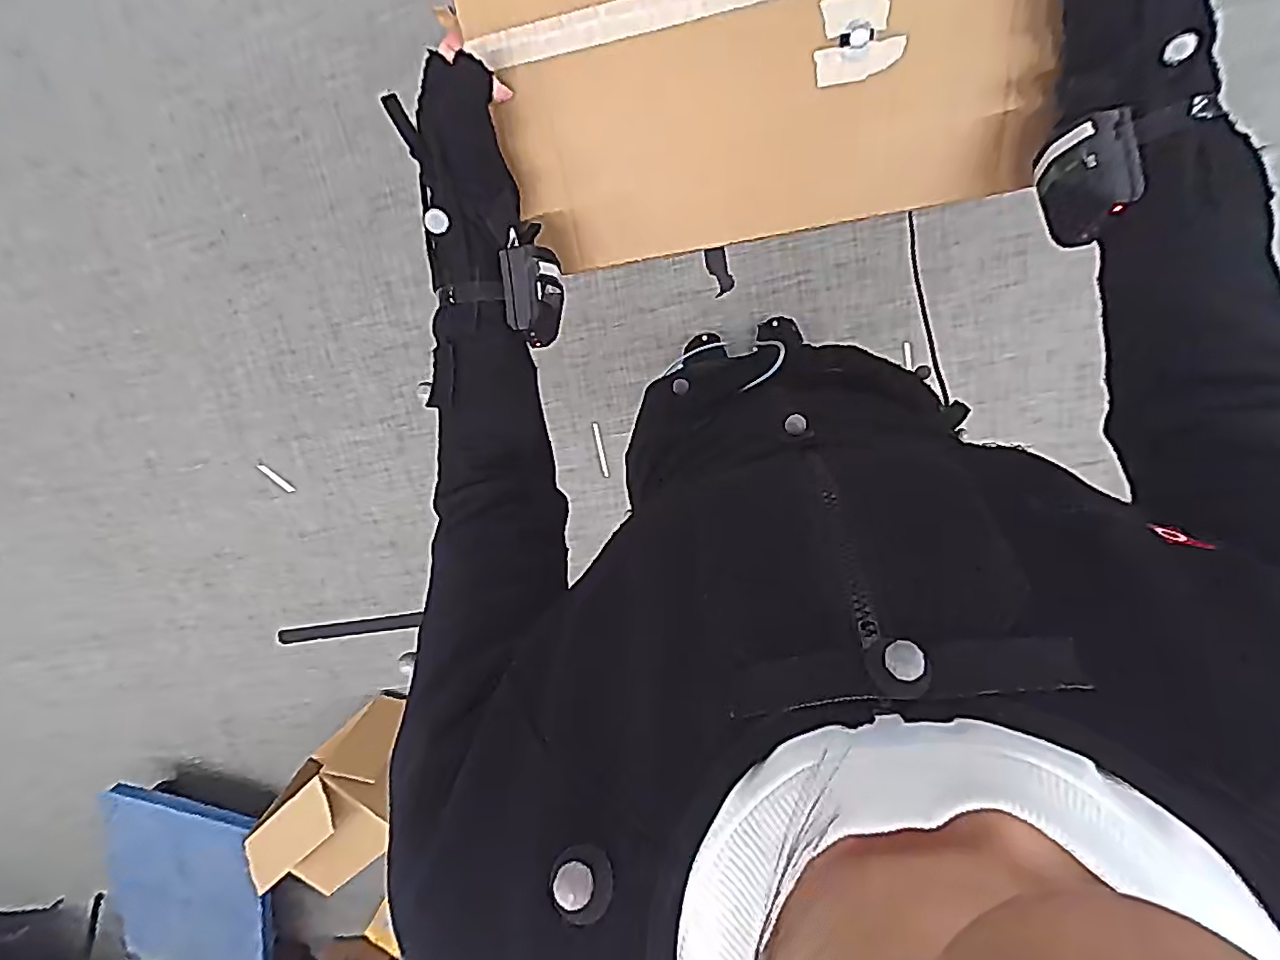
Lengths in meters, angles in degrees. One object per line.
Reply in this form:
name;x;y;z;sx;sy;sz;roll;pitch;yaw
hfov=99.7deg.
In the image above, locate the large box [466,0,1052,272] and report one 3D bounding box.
large box;0.086;-0.407;0.507;0.408;0.320;0.320;-8;116;9
